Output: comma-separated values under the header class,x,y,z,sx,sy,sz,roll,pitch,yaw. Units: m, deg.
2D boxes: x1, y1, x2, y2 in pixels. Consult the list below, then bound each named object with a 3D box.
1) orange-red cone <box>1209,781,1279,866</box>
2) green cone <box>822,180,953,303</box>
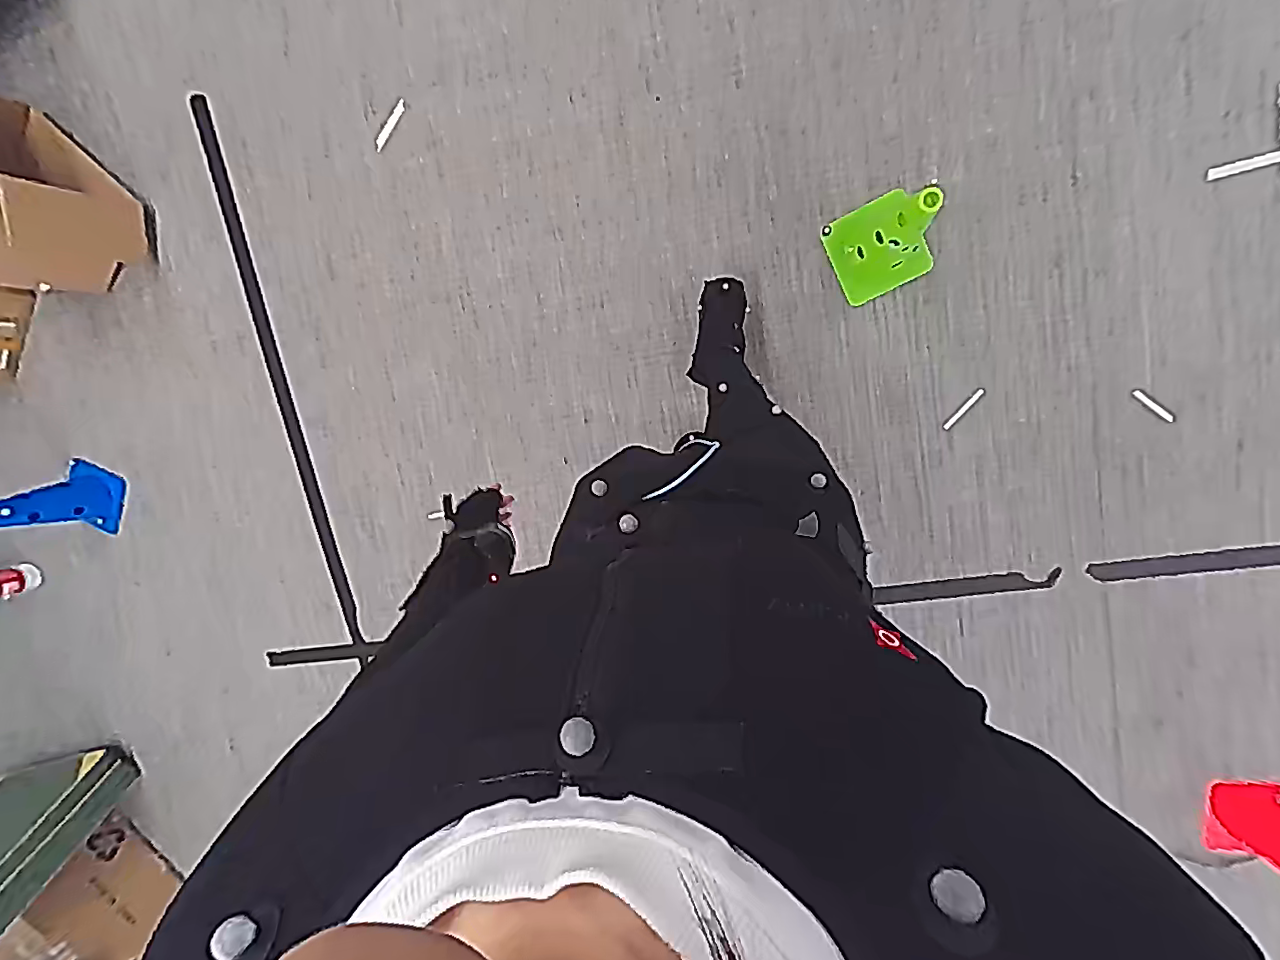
class,x,y,z,sx,sy,sz,roll,pitch,yaw
orange-red cone,1.500,0.868,1.172,0.199,0.360,0.198,-2,100,11
green cone,0.521,-0.504,1.073,0.202,0.368,0.200,-26,96,12
